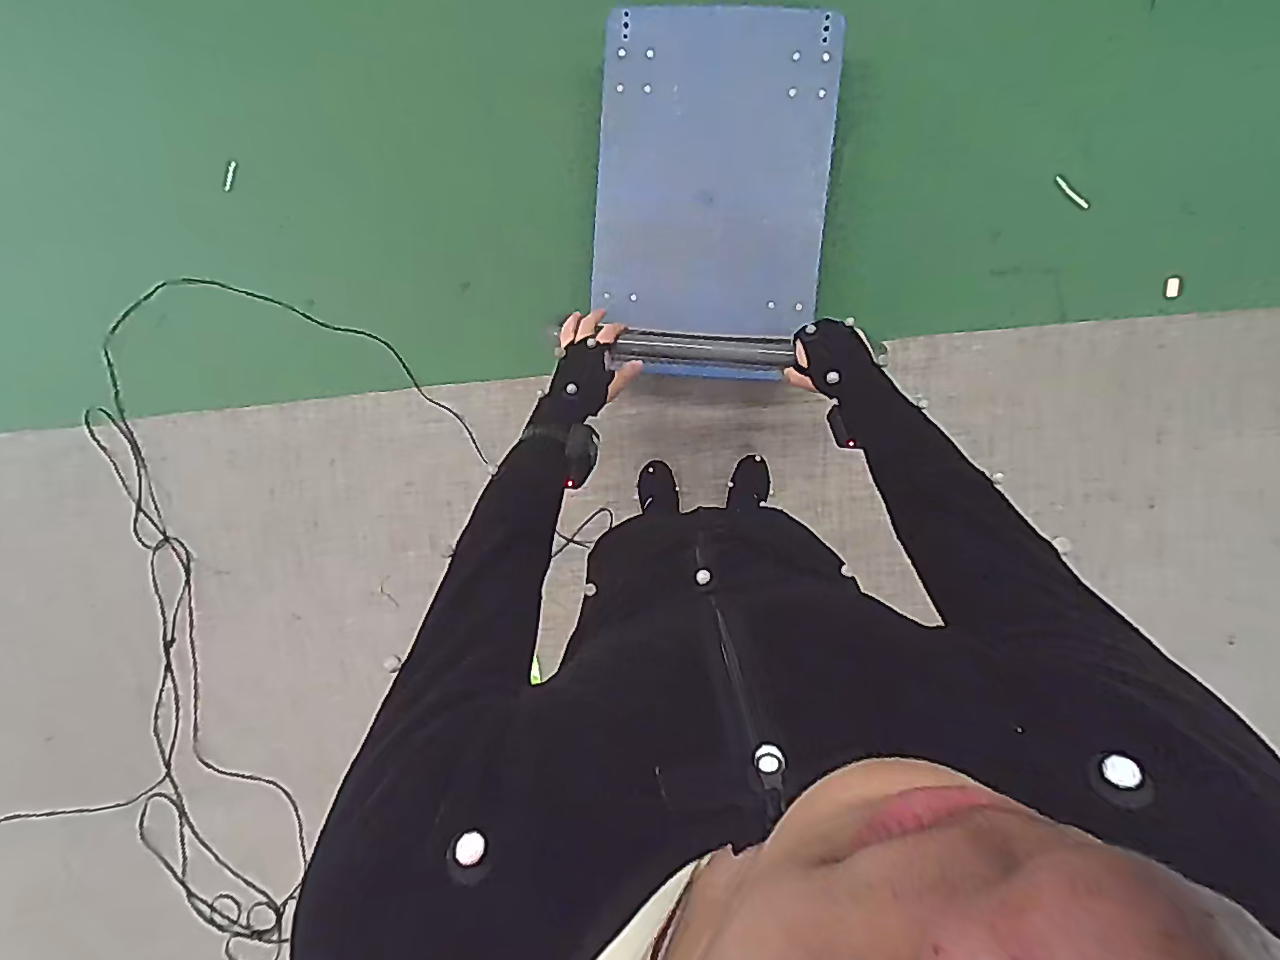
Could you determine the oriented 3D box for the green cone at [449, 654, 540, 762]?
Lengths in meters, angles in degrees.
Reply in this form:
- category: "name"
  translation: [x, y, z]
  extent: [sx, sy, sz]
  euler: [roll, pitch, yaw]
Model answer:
- category: "green cone"
  translation: [-0.444, 0.674, 1.552]
  extent: [0.202, 0.368, 0.200]
  euler: [-8, 96, 8]
